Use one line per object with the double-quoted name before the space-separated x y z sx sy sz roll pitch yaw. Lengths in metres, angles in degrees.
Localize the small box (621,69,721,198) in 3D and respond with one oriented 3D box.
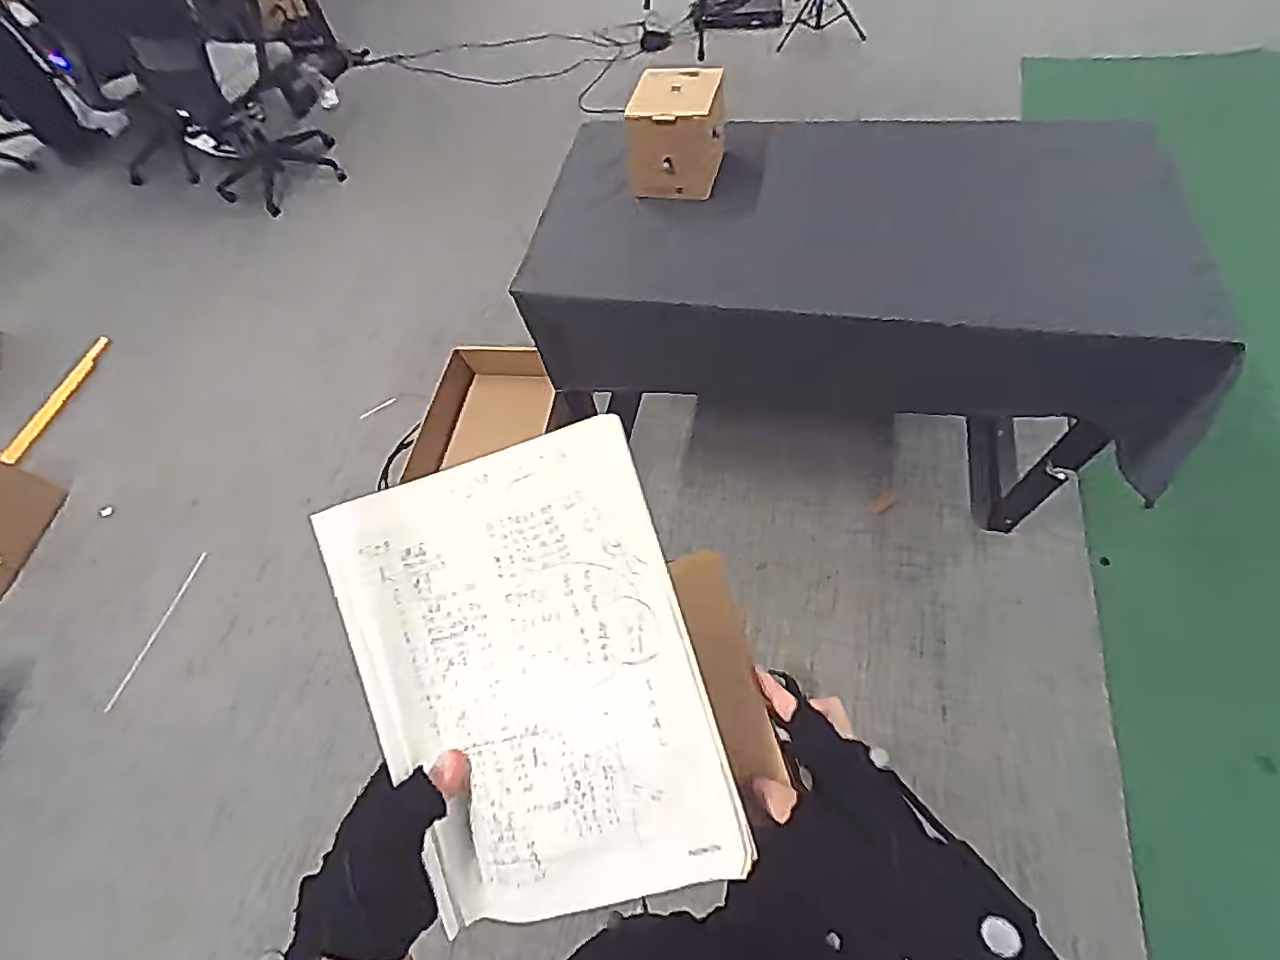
"small box" 0.073 -0.712 1.120 0.168 0.176 0.179 10 63 13
